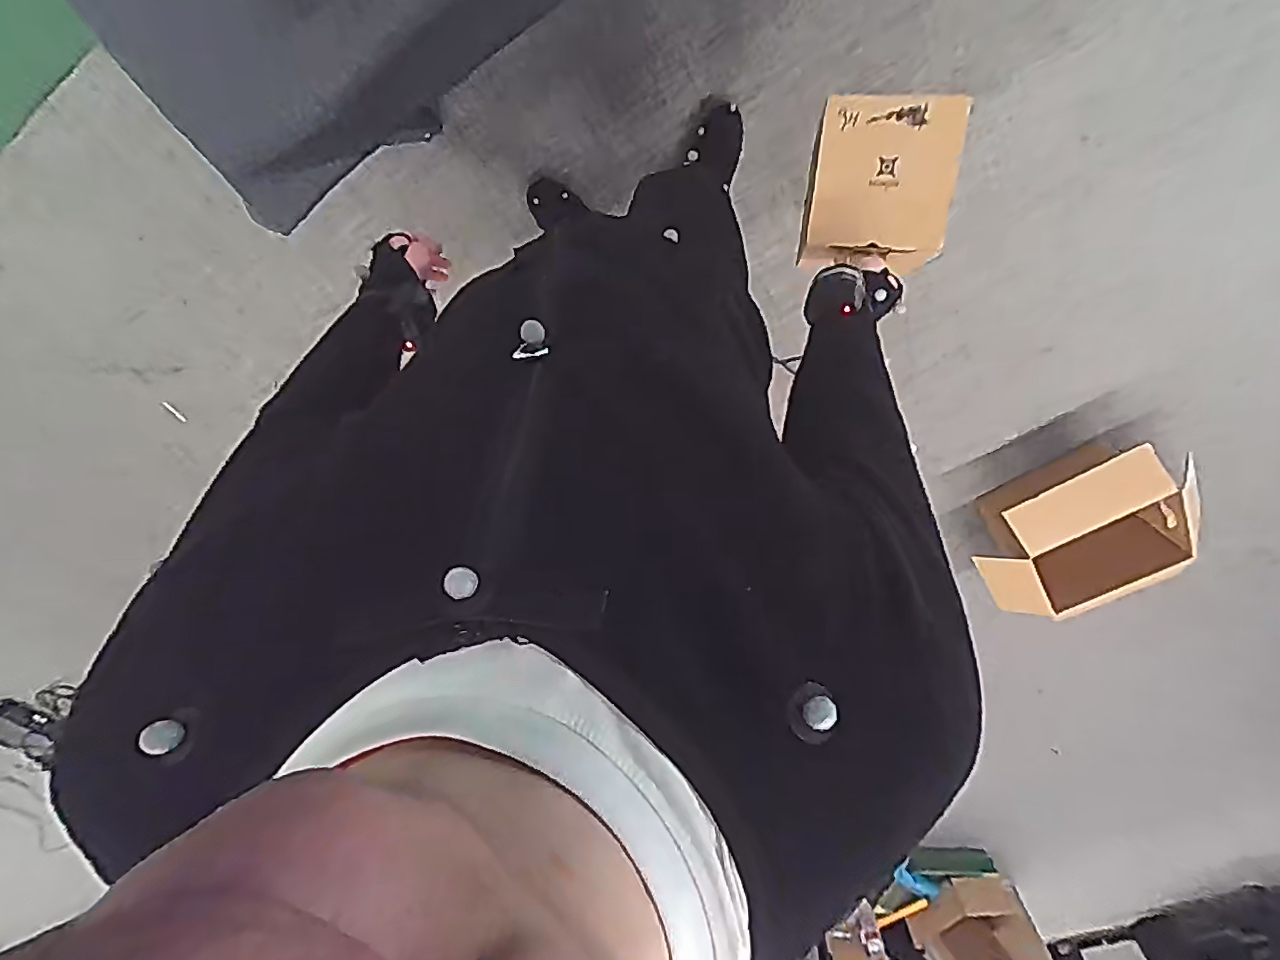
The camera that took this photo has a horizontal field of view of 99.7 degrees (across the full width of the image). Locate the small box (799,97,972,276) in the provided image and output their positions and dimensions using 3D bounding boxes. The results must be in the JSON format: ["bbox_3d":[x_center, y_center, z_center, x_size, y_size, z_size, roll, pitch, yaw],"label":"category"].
[{"bbox_3d":[0.320,-0.389,0.745,0.168,0.176,0.179,9,101,10],"label":"small box"}]
